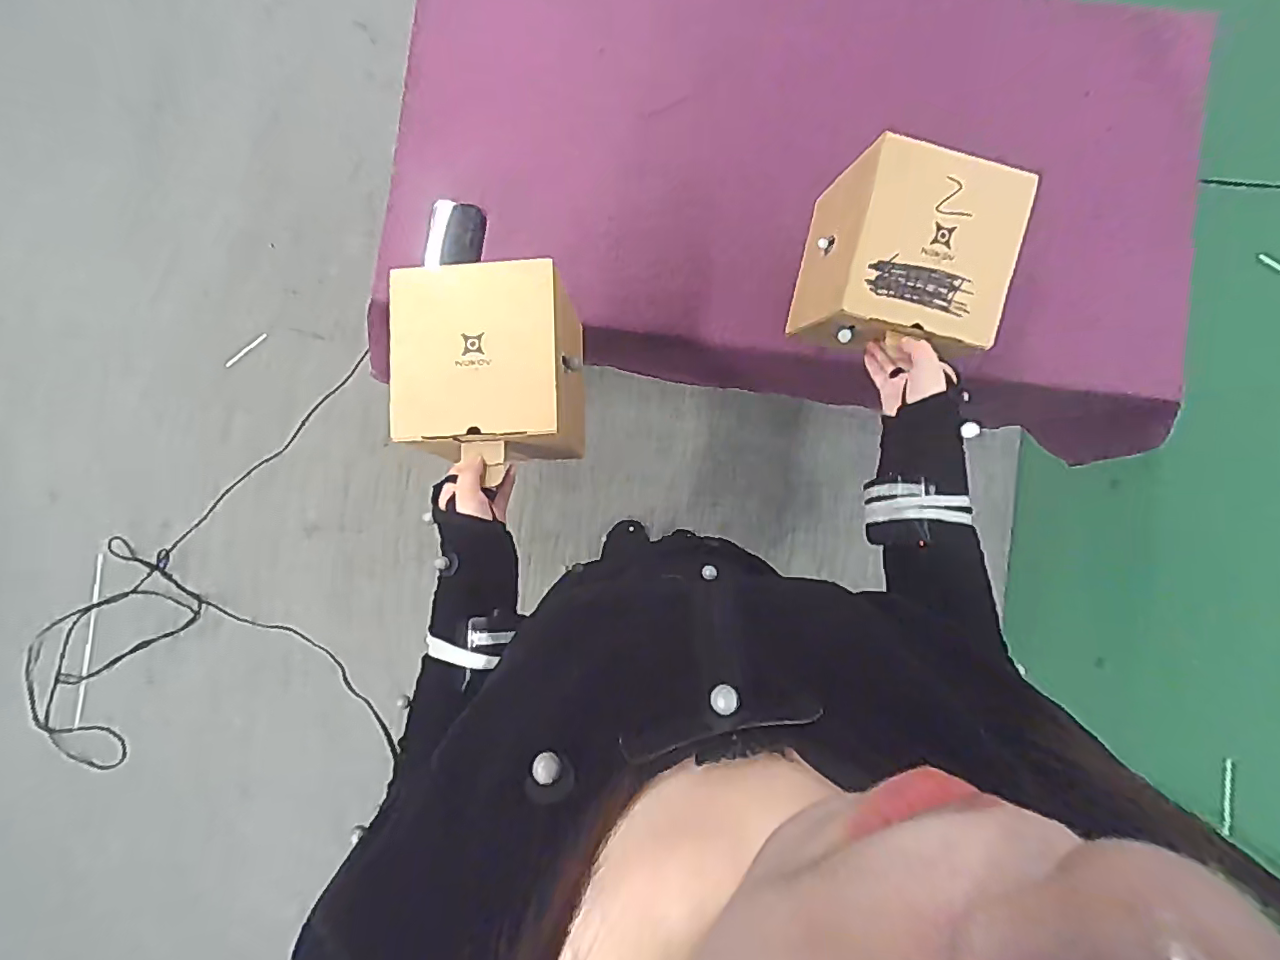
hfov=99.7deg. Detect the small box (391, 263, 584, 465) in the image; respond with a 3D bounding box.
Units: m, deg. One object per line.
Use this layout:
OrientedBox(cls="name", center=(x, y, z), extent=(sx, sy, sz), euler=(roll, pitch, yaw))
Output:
OrientedBox(cls="small box", center=(-0.156, -0.116, 0.602), extent=(0.168, 0.176, 0.179), euler=(-2, 85, 2))
